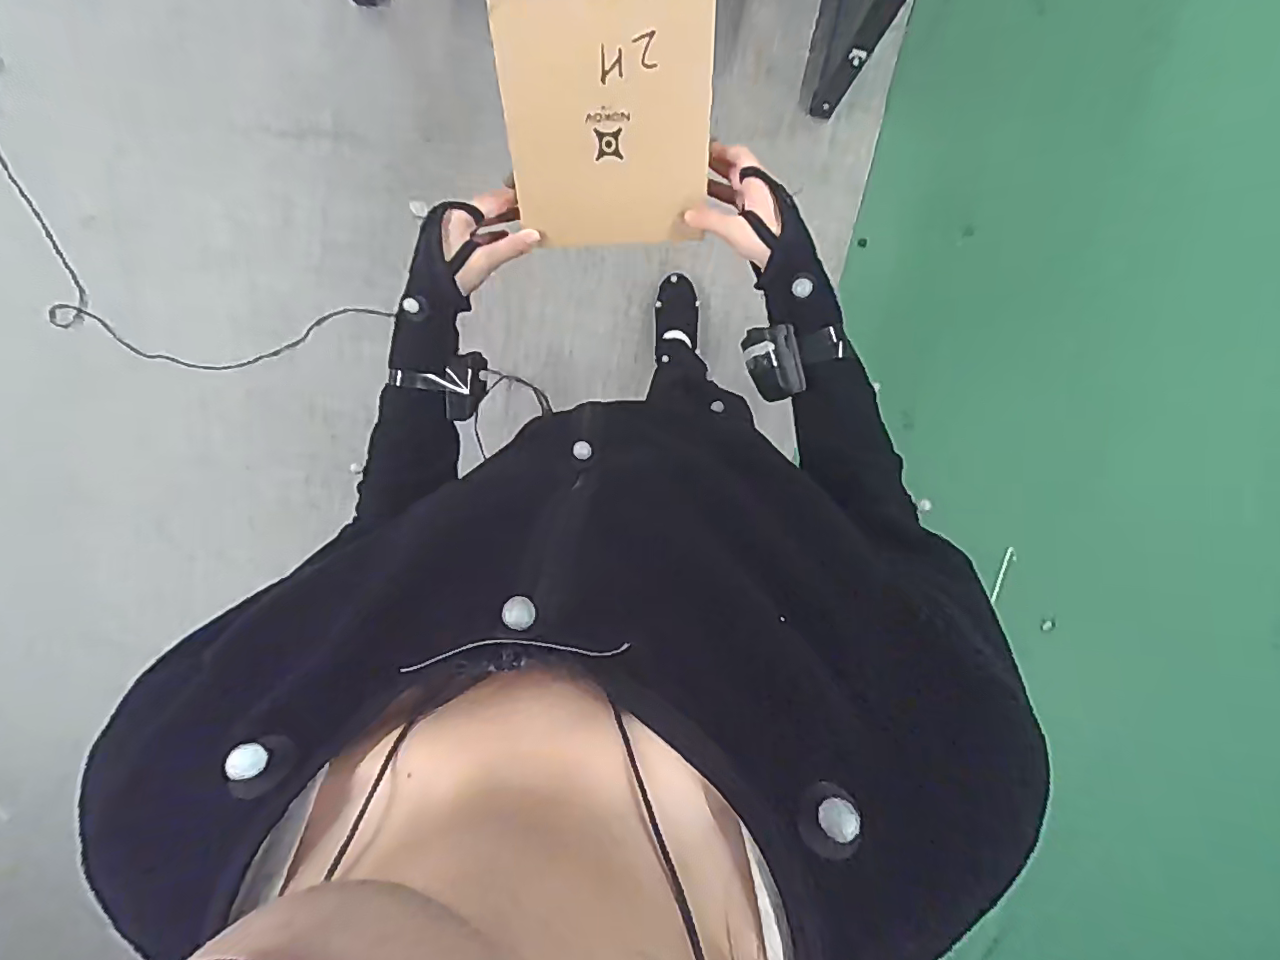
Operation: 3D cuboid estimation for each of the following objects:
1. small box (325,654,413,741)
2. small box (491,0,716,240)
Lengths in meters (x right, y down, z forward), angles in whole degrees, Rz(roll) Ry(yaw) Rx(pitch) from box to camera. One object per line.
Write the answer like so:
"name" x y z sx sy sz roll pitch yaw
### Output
"small box" -0.767 0.618 1.551 0.179 0.176 0.168 3 101 2
"small box" -0.028 -0.340 0.498 0.168 0.176 0.179 -4 129 -2
